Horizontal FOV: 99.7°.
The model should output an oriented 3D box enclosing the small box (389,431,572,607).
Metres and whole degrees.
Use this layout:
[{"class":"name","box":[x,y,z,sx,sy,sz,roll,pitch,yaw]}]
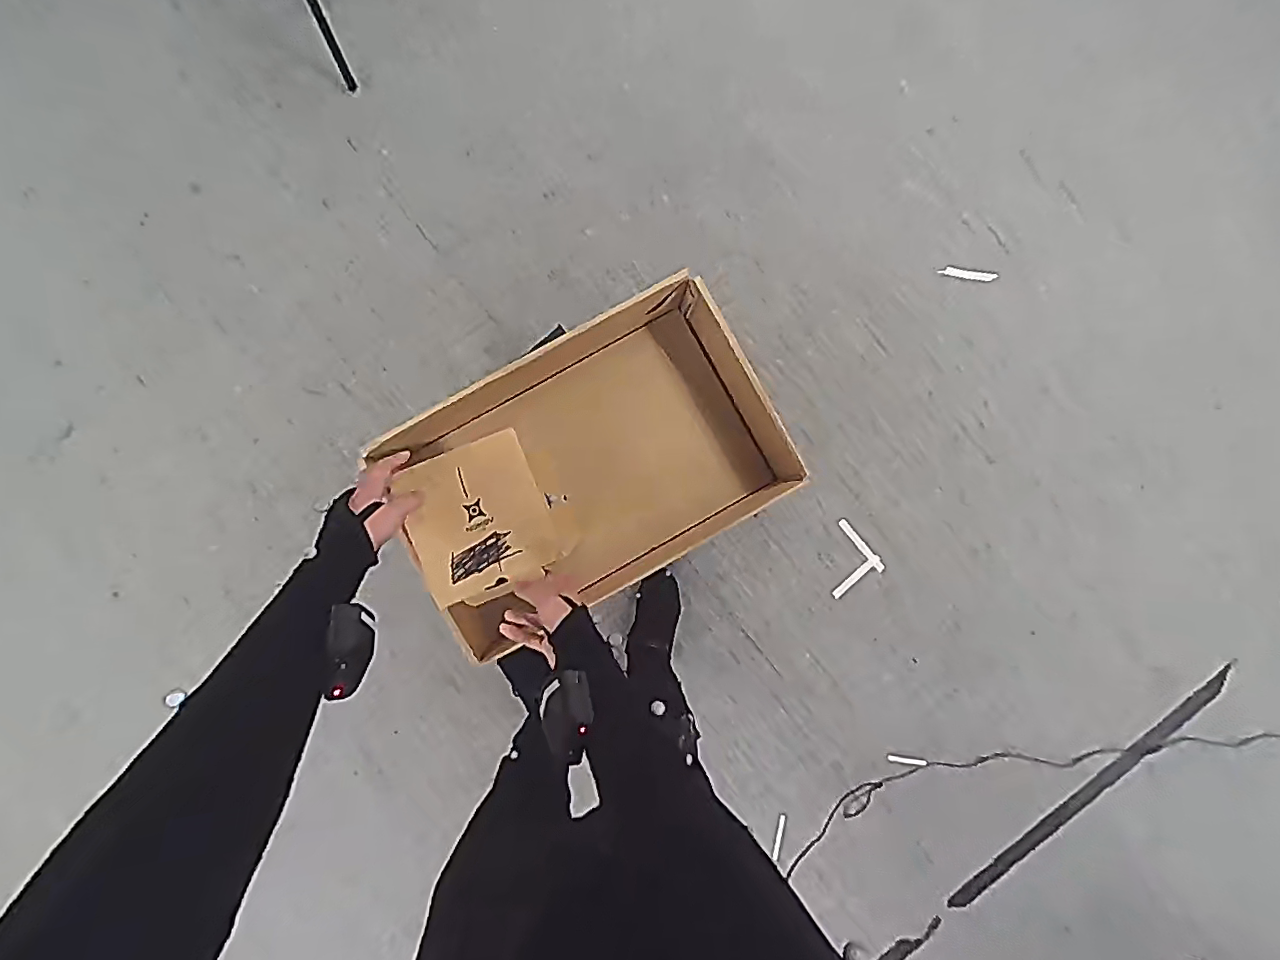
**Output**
[{"class":"small box","box":[-0.201,0.048,0.737,0.168,0.176,0.179,-22,89,-3]}]
